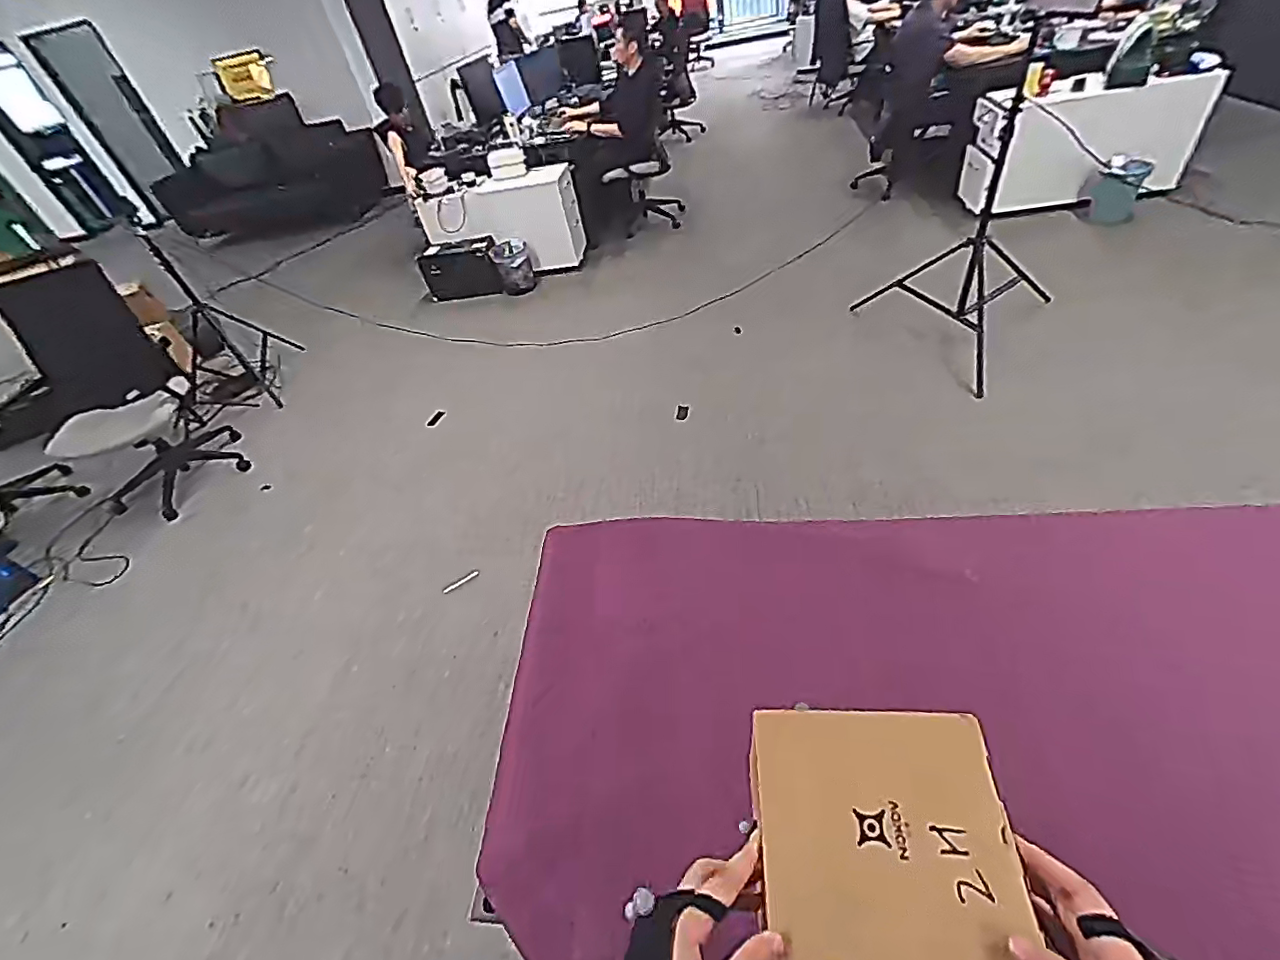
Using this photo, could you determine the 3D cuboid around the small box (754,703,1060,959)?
[{"bbox_3d":[0.189,0.295,0.448,0.179,0.176,0.168,-2,52,8],"label":"small box"}]
